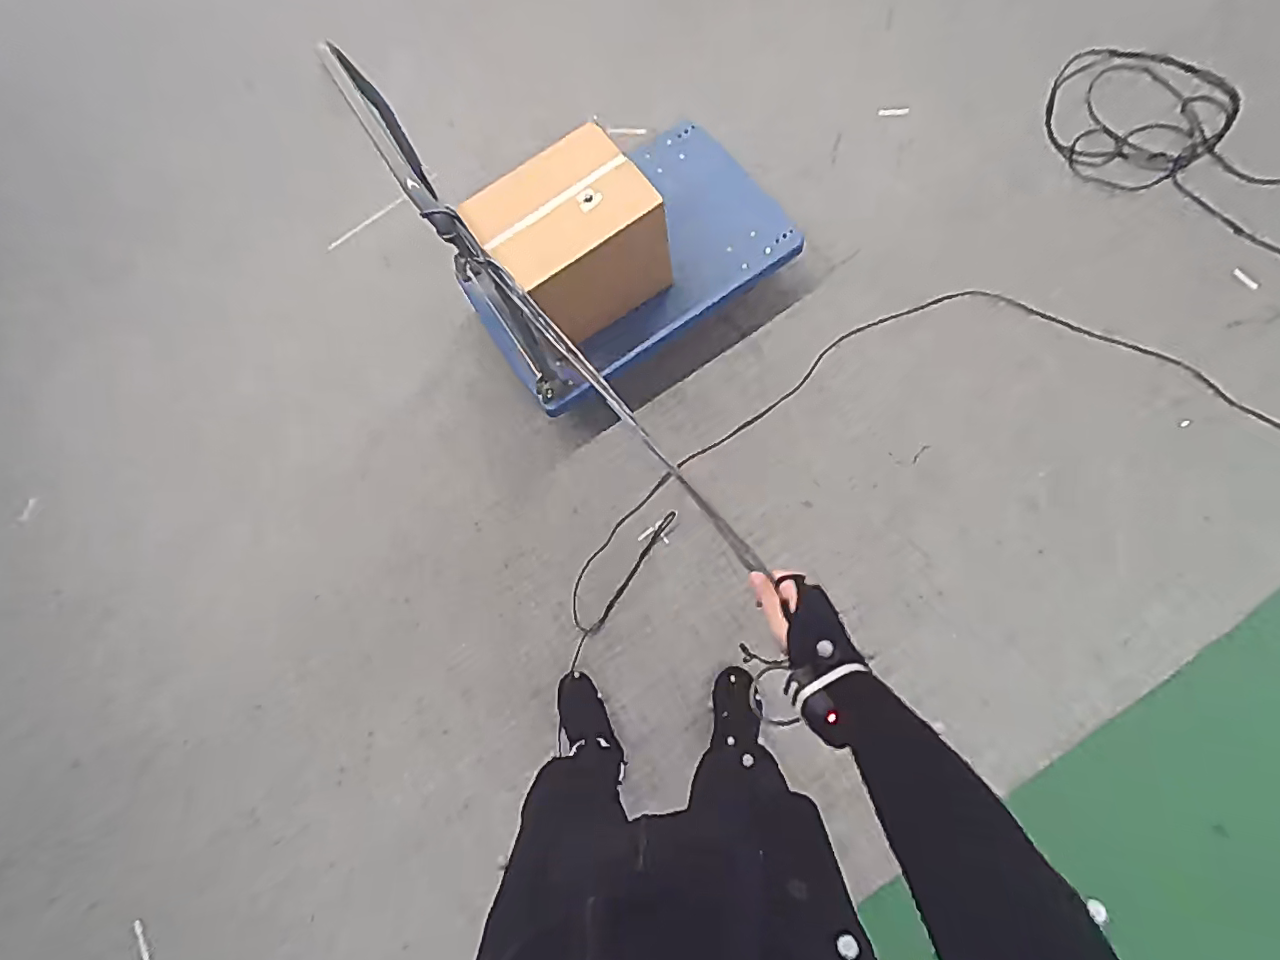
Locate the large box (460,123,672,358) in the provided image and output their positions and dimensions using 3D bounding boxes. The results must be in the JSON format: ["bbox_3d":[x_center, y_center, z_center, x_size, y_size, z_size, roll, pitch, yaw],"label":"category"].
[{"bbox_3d":[-0.170,-0.600,1.400,0.408,0.320,0.320,-35,74,-3],"label":"large box"}]
